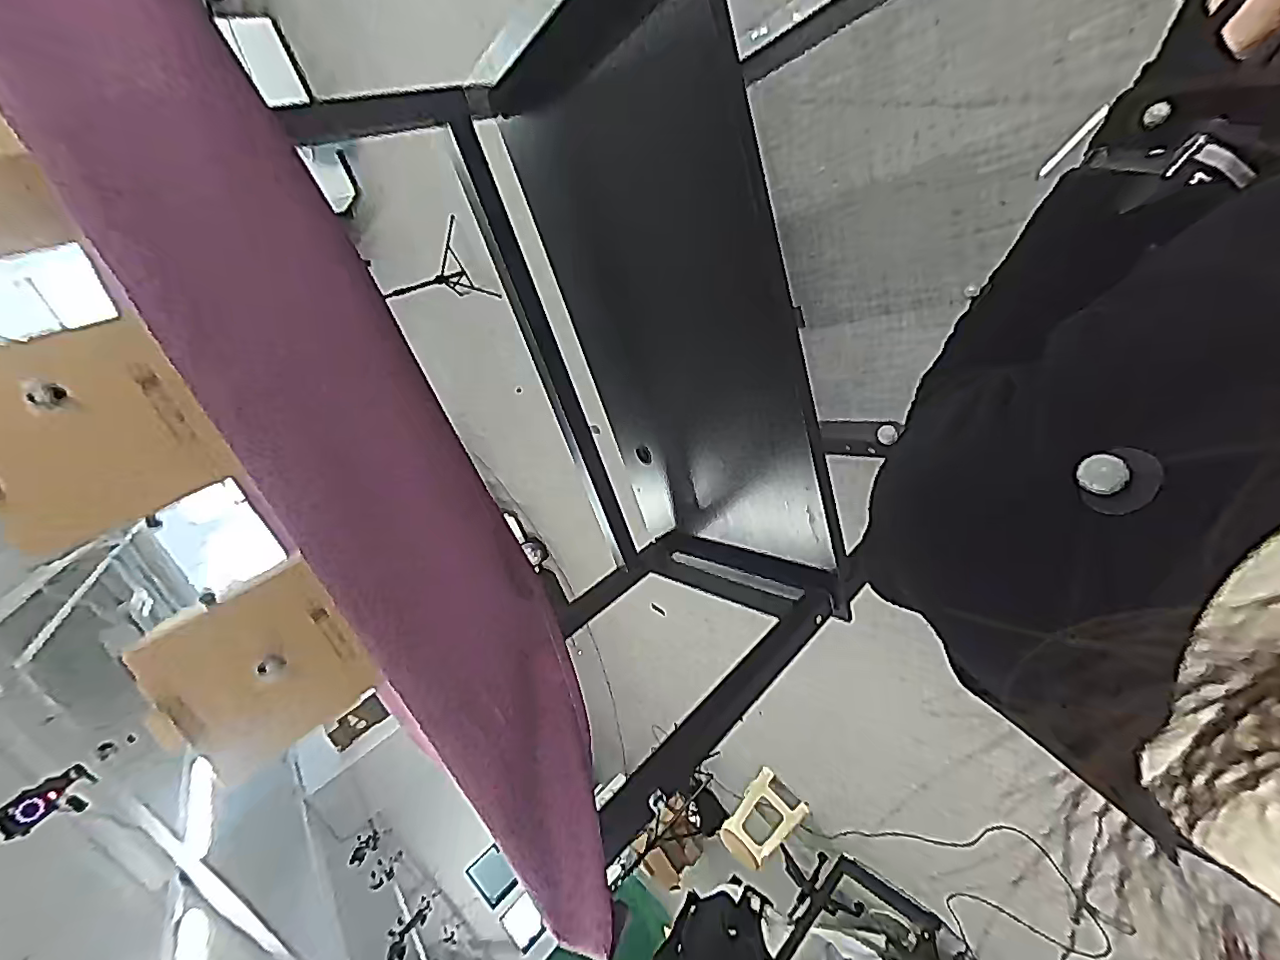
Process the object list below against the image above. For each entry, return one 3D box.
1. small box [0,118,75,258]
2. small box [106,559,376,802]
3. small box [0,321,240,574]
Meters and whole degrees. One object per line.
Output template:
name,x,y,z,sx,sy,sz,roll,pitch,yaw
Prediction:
small box,-0.592,-0.265,0.405,0.179,0.176,0.168,0,119,56
small box,-0.422,0.202,0.602,0.179,0.176,0.168,-7,113,56
small box,-0.514,-0.037,0.514,0.179,0.176,0.168,4,121,54
